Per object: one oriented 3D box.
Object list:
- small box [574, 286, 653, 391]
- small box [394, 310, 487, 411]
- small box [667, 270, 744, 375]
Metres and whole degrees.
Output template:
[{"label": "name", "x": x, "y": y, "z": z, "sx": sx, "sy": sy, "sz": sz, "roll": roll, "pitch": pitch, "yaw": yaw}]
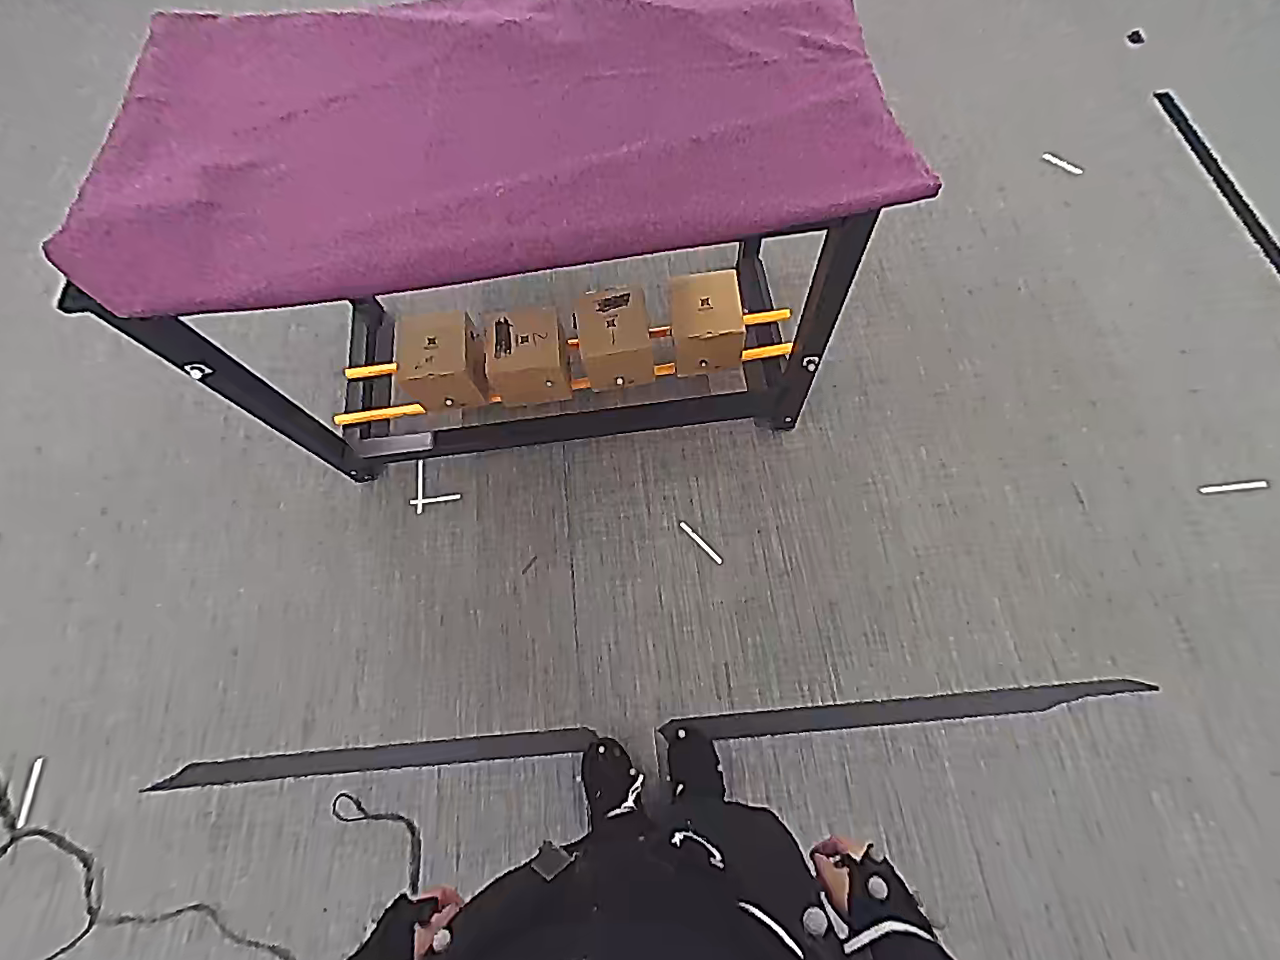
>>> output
[{"label": "small box", "x": -0.062, "y": -0.344, "z": 1.330, "sx": 0.168, "sy": 0.176, "sz": 0.179, "roll": -9, "pitch": 71, "yaw": 2}, {"label": "small box", "x": -0.486, "y": -0.291, "z": 1.339, "sx": 0.168, "sy": 0.176, "sz": 0.179, "roll": -7, "pitch": 70, "yaw": 2}, {"label": "small box", "x": 0.154, "y": -0.380, "z": 1.323, "sx": 0.168, "sy": 0.176, "sz": 0.179, "roll": -6, "pitch": 70, "yaw": 3}]
